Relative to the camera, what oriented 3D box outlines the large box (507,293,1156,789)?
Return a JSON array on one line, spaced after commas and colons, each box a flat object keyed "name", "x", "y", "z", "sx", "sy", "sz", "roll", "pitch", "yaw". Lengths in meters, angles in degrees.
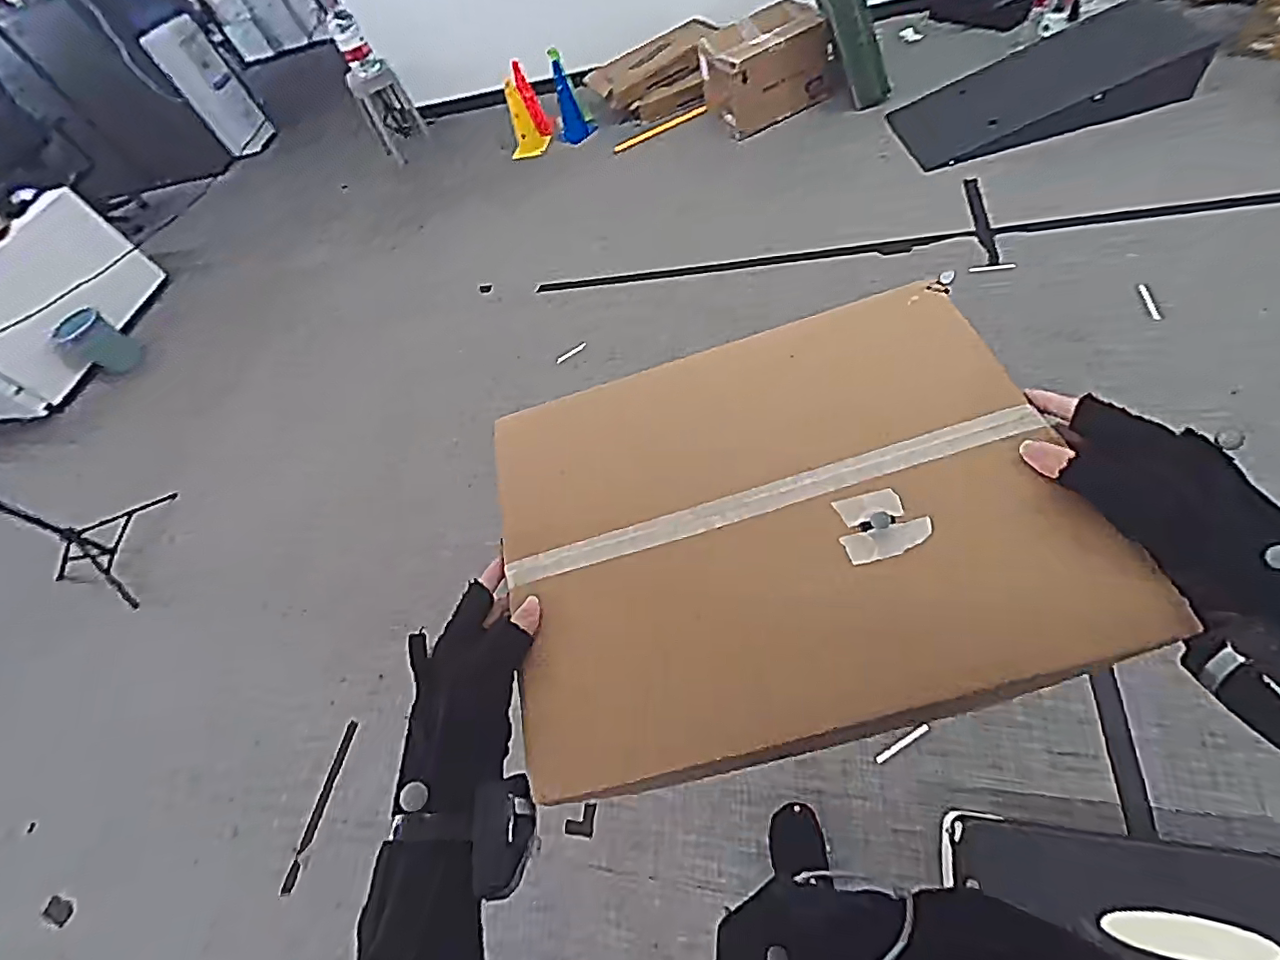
[{"name": "large box", "x": 0.126, "y": 0.088, "z": 0.544, "sx": 0.408, "sy": 0.320, "sz": 0.320, "roll": -17, "pitch": 60, "yaw": 4}]
